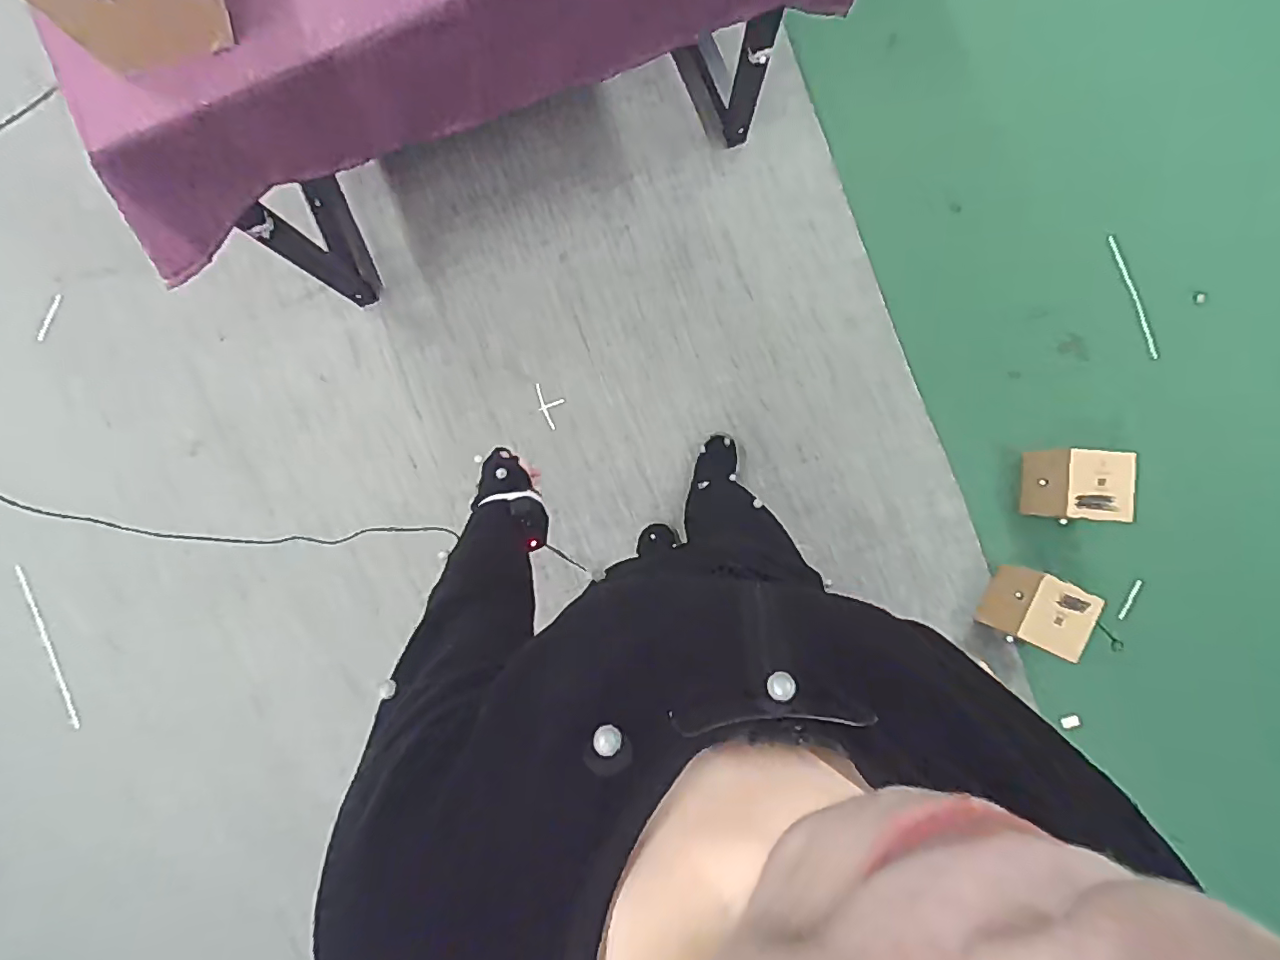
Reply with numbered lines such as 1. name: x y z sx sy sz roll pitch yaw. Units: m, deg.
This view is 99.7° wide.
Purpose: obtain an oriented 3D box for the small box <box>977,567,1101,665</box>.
1. small box: 1.028 0.344 1.410 0.168 0.176 0.179 25 90 0

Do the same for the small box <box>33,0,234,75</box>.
1. small box: -0.688 -0.679 0.704 0.179 0.176 0.168 -16 89 -1

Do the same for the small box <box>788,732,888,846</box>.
1. small box: 0.499 0.793 1.402 0.179 0.176 0.168 -22 90 0
